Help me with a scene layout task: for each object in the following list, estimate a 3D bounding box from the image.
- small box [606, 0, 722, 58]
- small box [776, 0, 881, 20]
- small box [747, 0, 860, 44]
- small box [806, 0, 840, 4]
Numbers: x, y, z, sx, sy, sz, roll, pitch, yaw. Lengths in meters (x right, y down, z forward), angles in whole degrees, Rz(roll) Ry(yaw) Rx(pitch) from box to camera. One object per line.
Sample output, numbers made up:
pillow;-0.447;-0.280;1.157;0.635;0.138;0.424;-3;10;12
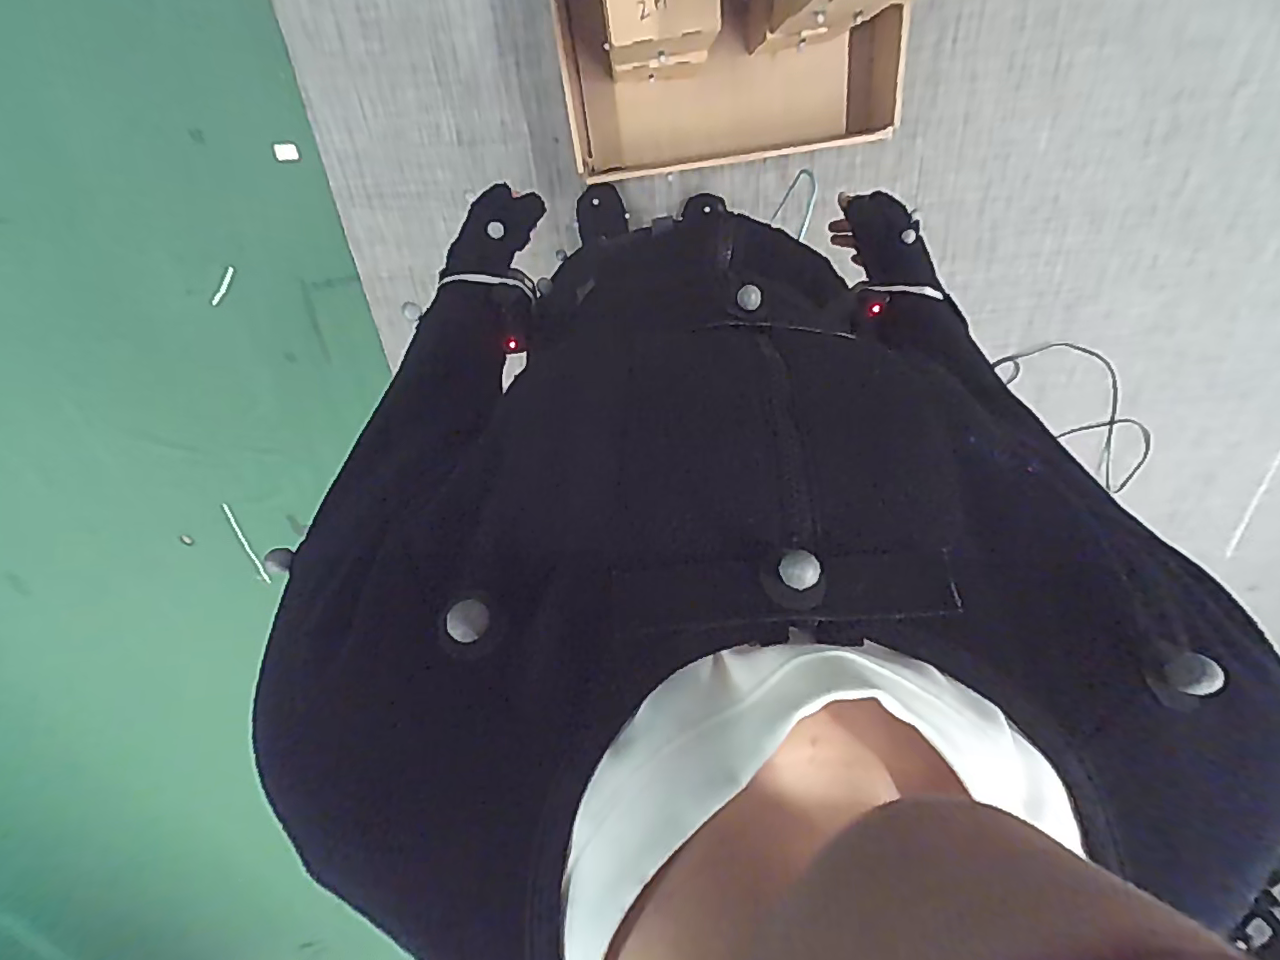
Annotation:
small box;0.026;-0.775;0.820;0.168;0.176;0.179;-8;120;3
small box;0.295;-0.802;0.789;0.168;0.176;0.179;-6;121;4
small box;0.282;-0.893;0.946;0.168;0.176;0.179;-9;120;7
small box;0.294;-0.721;0.667;0.168;0.176;0.179;-6;121;3
